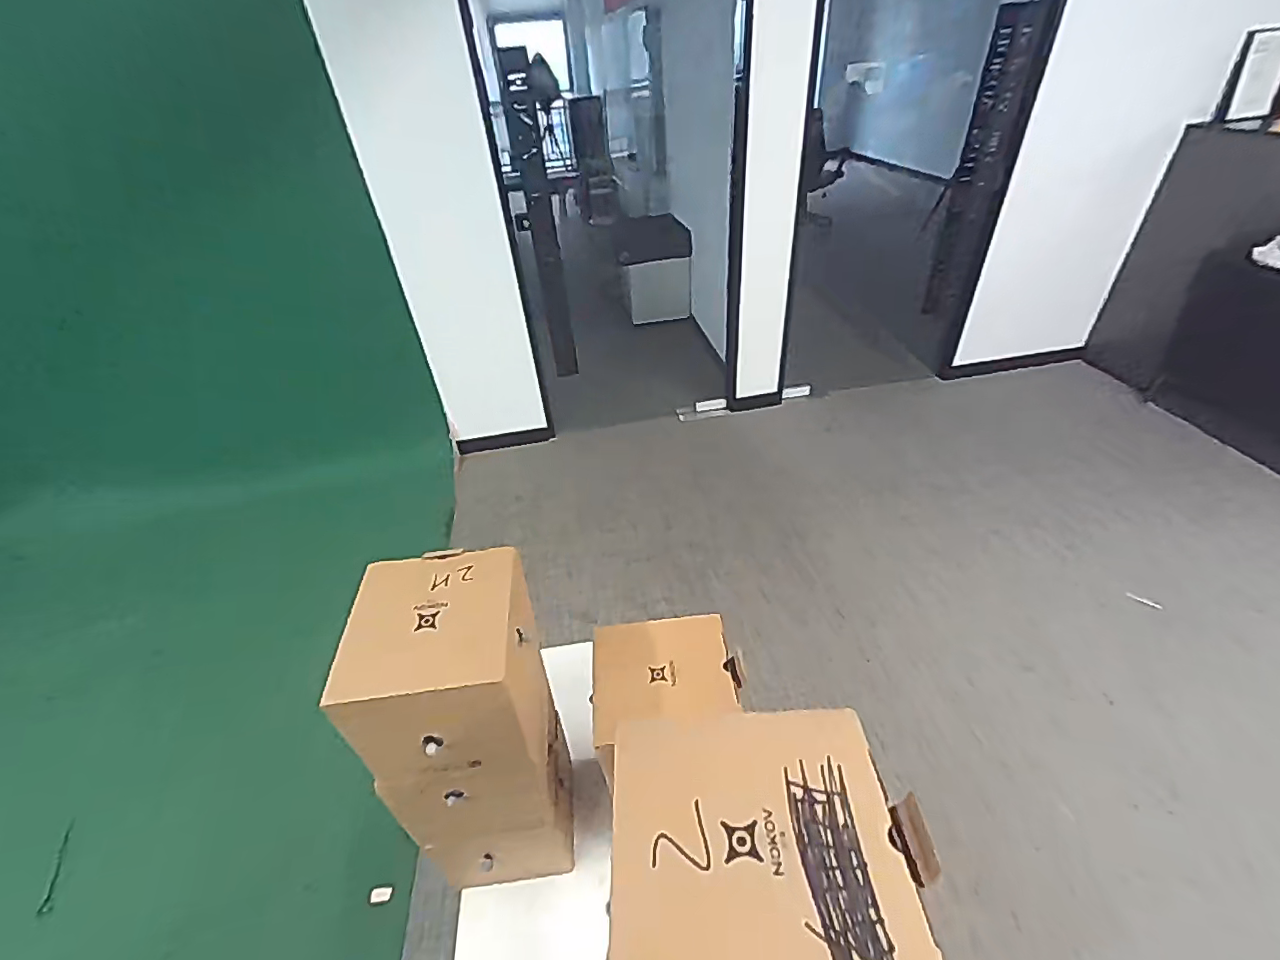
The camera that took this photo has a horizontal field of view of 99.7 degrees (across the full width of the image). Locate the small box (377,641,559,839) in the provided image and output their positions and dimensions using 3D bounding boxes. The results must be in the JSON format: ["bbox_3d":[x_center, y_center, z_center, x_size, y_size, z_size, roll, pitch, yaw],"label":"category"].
[{"bbox_3d":[-0.204,0.334,0.696,0.179,0.176,0.168,-6,39,-4],"label":"small box"}]

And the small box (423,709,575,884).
[{"bbox_3d":[-0.193,0.466,0.796,0.179,0.176,0.168,-6,39,-4],"label":"small box"}]

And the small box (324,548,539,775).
[{"bbox_3d":[-0.207,0.202,0.598,0.168,0.176,0.179,-6,39,-4],"label":"small box"}]

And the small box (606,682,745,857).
[{"bbox_3d":[0.050,0.434,0.812,0.179,0.176,0.168,-9,37,-2],"label":"small box"}]
